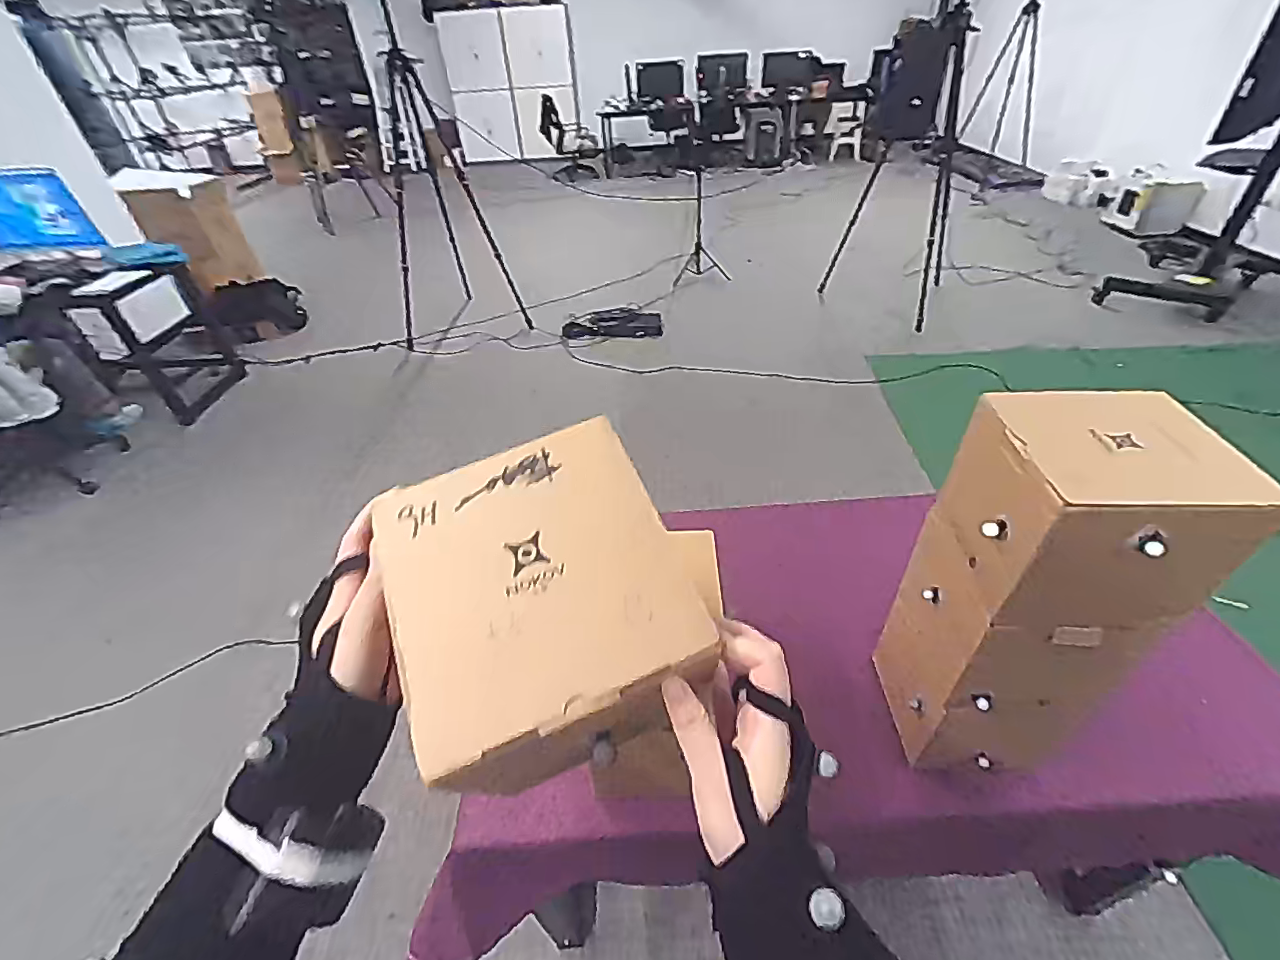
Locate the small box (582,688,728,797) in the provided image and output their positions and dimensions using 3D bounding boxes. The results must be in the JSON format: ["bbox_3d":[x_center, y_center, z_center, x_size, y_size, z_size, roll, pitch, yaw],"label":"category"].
[{"bbox_3d":[0.022,0.314,0.742,0.179,0.176,0.168,-3,39,3],"label":"small box"}]

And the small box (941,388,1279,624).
[{"bbox_3d":[0.422,0.026,0.530,0.179,0.176,0.168,0,41,6],"label":"small box"}]

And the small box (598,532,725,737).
[{"bbox_3d":[0.008,0.182,0.646,0.168,0.176,0.179,-2,40,3],"label":"small box"}]

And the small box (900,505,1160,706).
[{"bbox_3d":[0.431,0.147,0.639,0.168,0.176,0.179,-1,39,5],"label":"small box"}]

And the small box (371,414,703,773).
[{"bbox_3d":[-0.063,0.089,0.389,0.168,0.176,0.179,-21,59,-8],"label":"small box"}]
